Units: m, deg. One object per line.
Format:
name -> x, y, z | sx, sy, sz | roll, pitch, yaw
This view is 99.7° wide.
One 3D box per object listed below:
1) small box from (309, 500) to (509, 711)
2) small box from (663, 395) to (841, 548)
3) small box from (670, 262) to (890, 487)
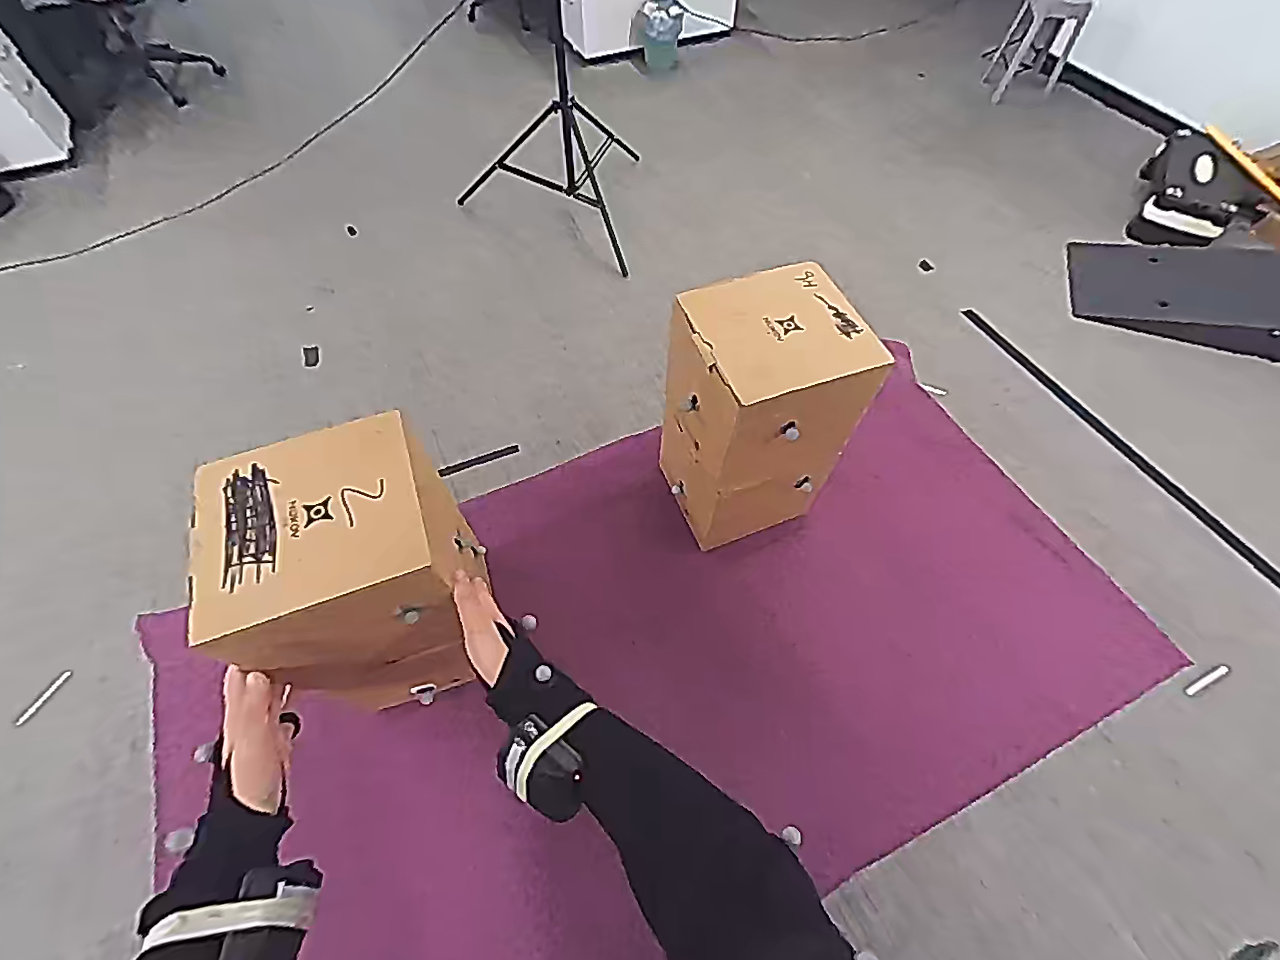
small box -> -0.268, 0.155, 0.649 | 0.168, 0.176, 0.179 | -17, 62, -10
small box -> 0.143, -0.029, 0.766 | 0.179, 0.176, 0.168 | -19, 61, -12
small box -> 0.143, -0.115, 0.627 | 0.179, 0.176, 0.168 | -18, 61, -10
